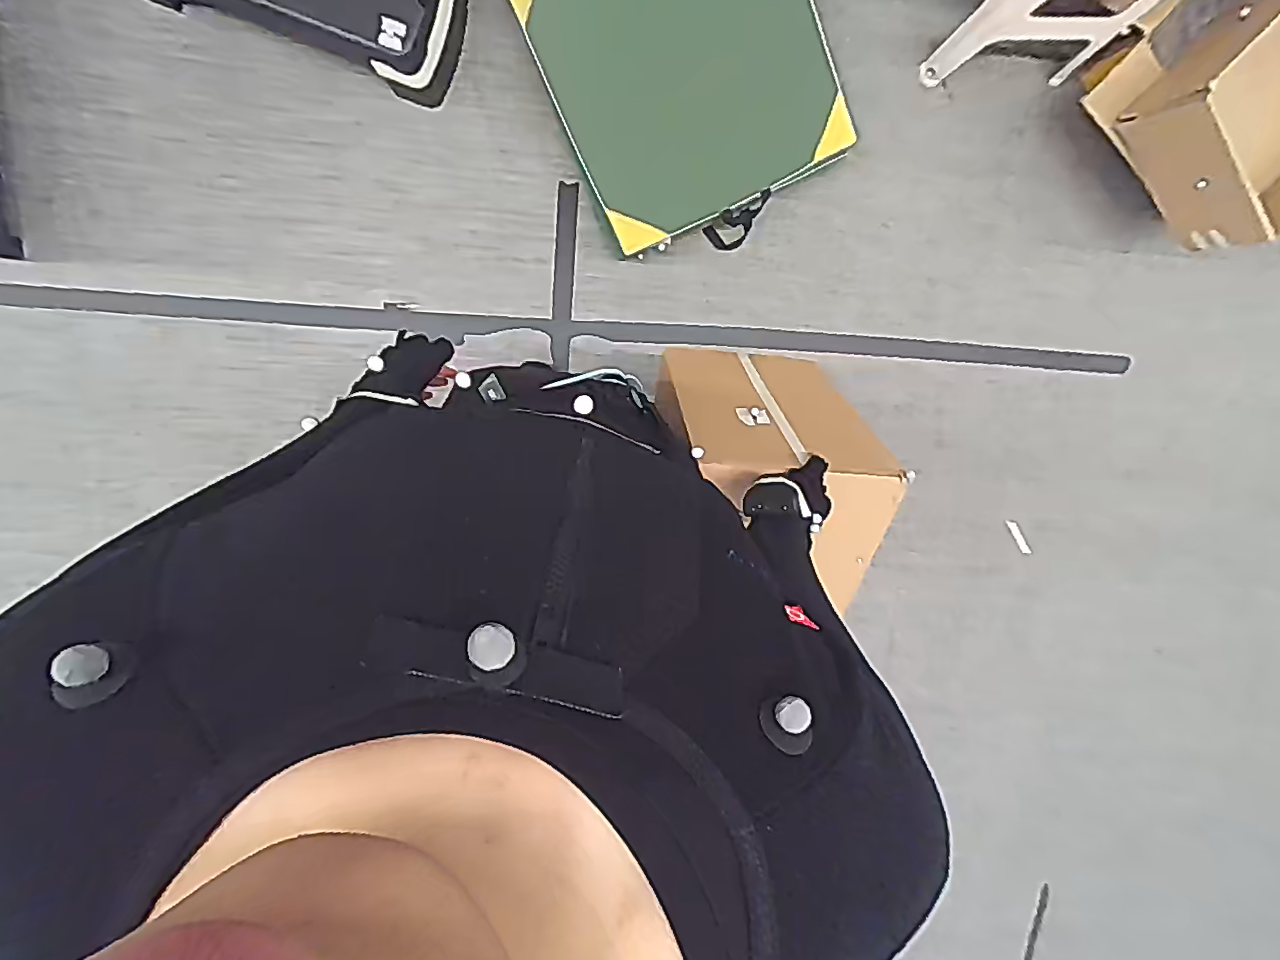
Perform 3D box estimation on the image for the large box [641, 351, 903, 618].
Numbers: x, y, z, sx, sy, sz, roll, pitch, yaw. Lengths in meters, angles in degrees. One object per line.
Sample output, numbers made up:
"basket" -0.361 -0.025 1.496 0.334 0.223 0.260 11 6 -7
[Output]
"large box" 0.189 -0.003 0.995 0.320 0.408 0.320 3 126 -8
